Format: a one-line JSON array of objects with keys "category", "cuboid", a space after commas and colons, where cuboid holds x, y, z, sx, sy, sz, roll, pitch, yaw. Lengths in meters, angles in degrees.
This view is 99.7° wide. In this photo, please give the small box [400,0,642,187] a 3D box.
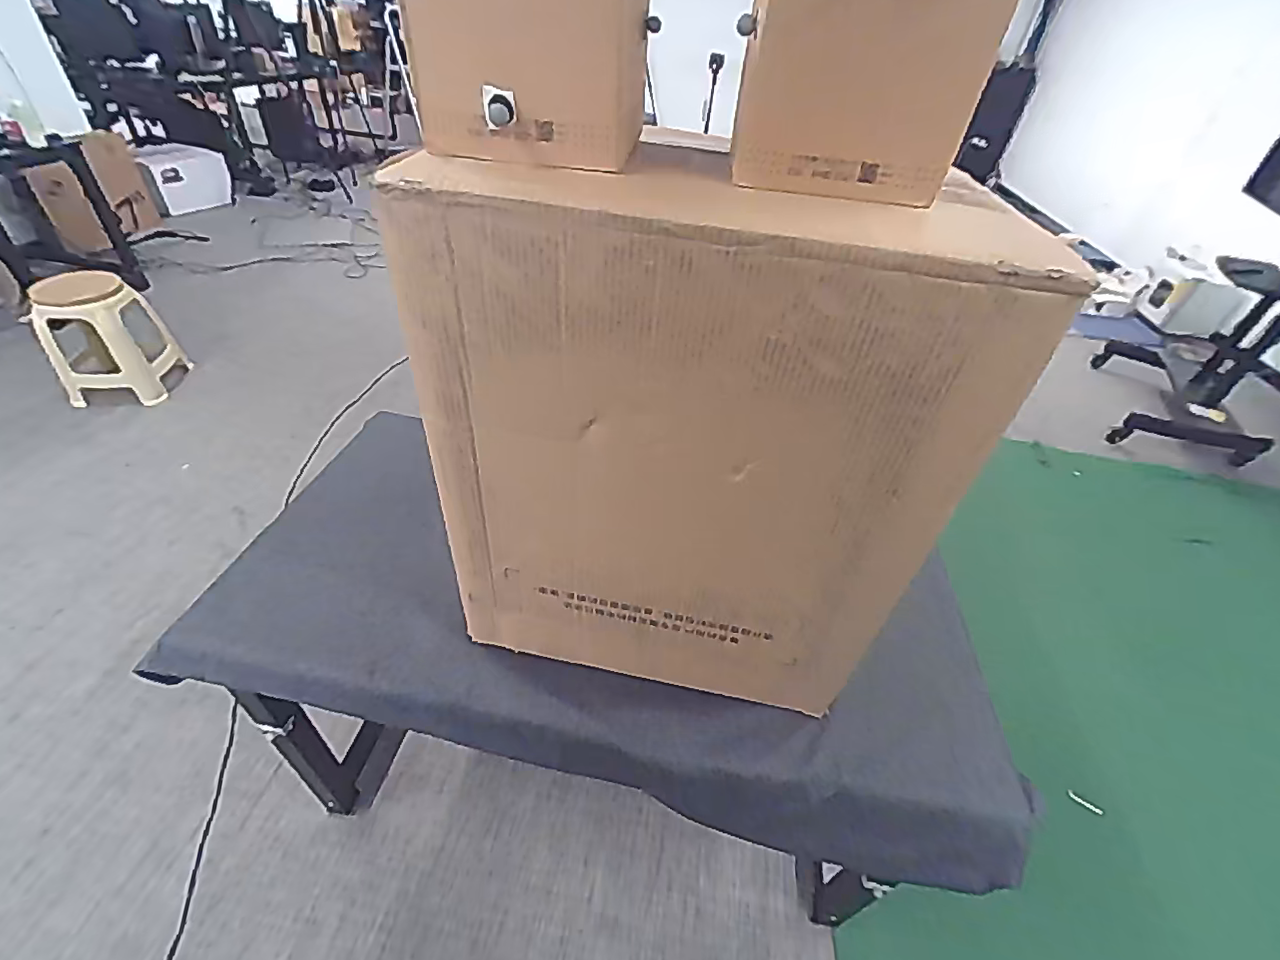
[{"category": "small box", "cuboid": [-0.089, -0.367, 0.457, 0.168, 0.176, 0.179, 5, 44, 4]}]

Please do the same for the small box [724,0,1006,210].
[{"category": "small box", "cuboid": [0.165, -0.345, 0.451, 0.168, 0.176, 0.179, 6, 42, 2]}]
